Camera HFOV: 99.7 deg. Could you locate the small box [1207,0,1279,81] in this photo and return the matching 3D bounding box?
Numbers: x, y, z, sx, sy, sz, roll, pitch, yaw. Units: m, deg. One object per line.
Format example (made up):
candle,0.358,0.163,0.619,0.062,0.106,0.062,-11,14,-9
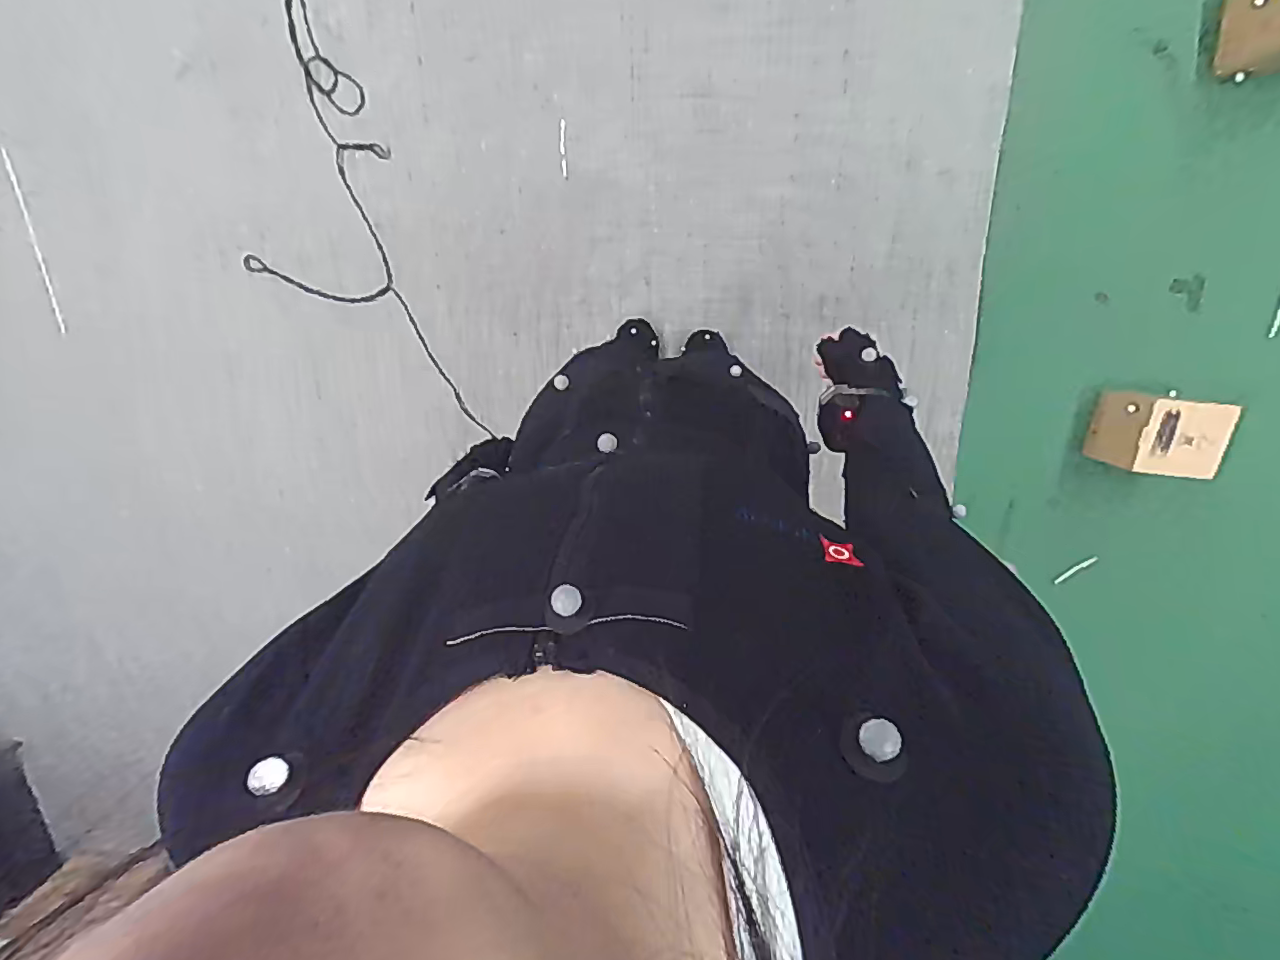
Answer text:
small box,1.246,-0.889,1.022,0.168,0.176,0.179,-2,105,7
